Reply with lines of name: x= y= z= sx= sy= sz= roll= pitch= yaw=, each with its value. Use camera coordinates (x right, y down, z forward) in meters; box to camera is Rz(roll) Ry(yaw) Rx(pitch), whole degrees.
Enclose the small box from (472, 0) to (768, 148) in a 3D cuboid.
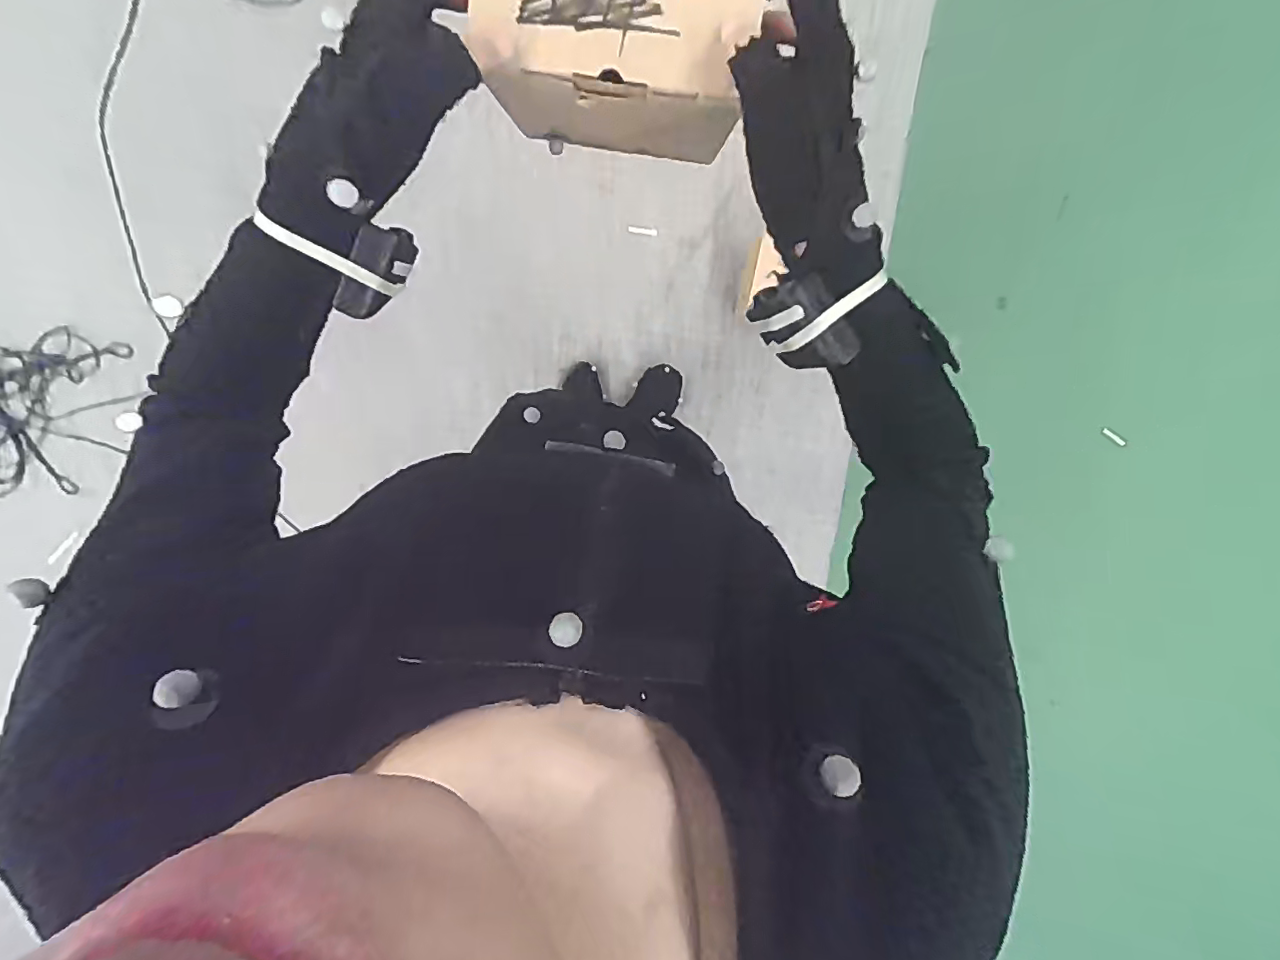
small box: x=-0.007 y=-0.338 z=0.354 sx=0.168 sy=0.176 sz=0.179 roll=5 pitch=110 yaw=-5
